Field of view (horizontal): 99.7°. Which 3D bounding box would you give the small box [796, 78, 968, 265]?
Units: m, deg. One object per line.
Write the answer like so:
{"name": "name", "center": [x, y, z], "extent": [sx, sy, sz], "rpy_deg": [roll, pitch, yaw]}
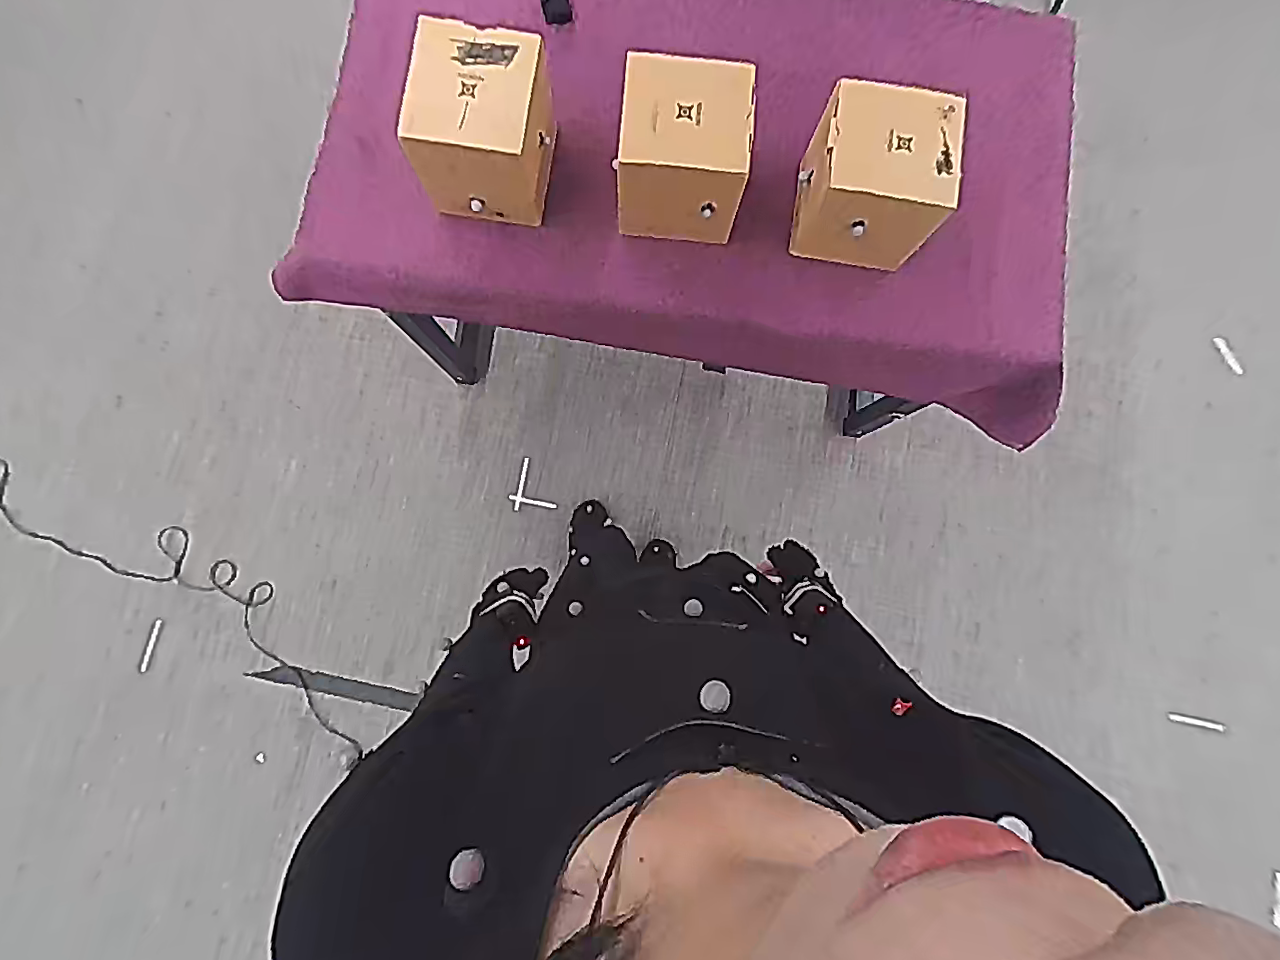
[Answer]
{"name": "small box", "center": [0.343, -0.440, 0.796], "extent": [0.179, 0.176, 0.168], "rpy_deg": [9, 83, 1]}

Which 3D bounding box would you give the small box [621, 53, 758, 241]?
{"name": "small box", "center": [0.065, -0.475, 0.795], "extent": [0.179, 0.176, 0.168], "rpy_deg": [4, 81, 0]}
